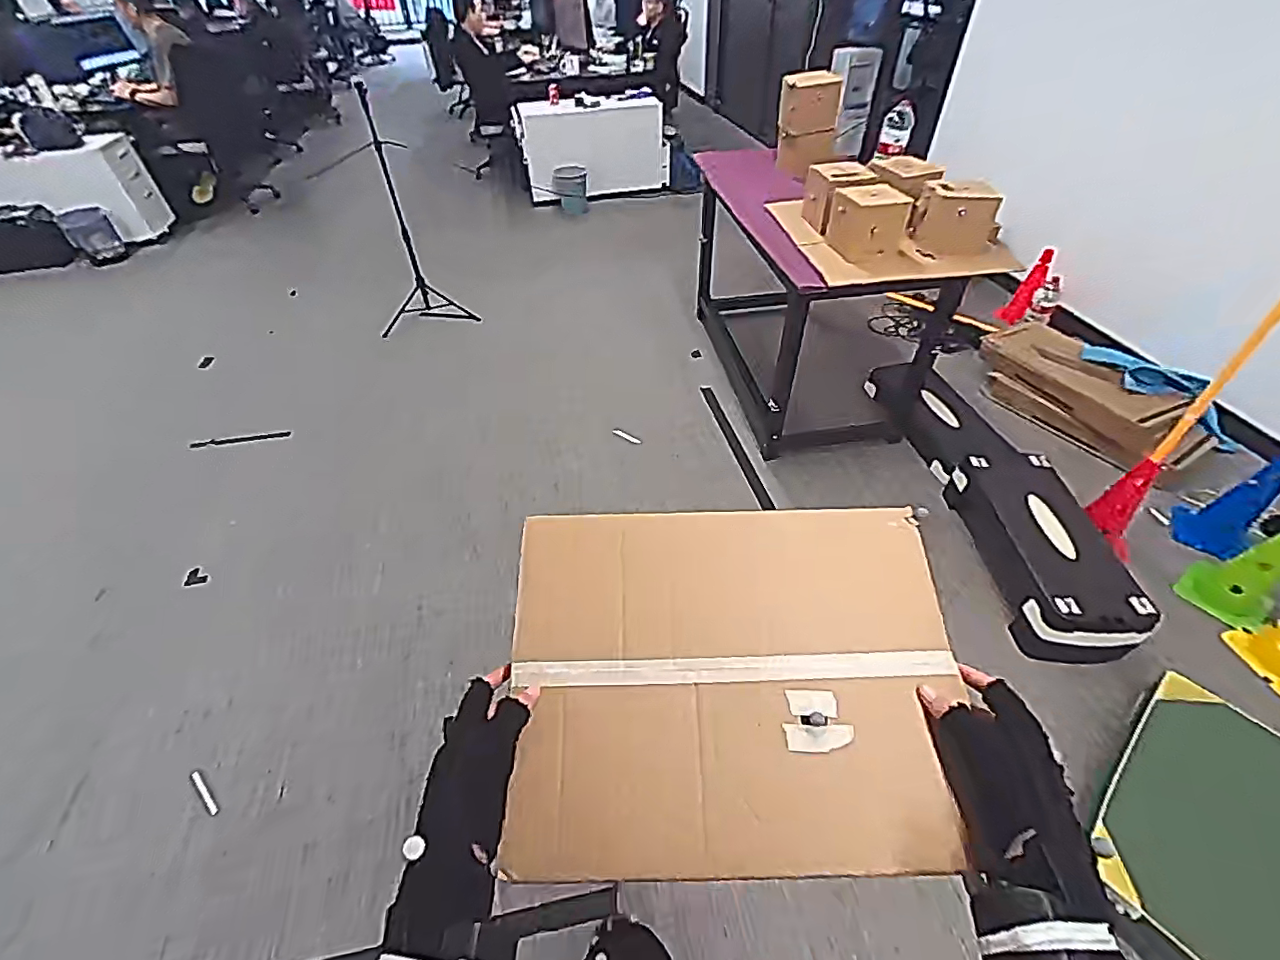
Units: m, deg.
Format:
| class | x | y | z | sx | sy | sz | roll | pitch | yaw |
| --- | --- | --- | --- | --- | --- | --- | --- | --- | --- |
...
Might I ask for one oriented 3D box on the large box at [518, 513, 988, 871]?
| class | x | y | z | sx | sy | sz | roll | pitch | yaw |
| --- | --- | --- | --- | --- | --- | --- | --- | --- | --- |
| large box | 0.090 | 0.246 | 0.647 | 0.408 | 0.320 | 0.320 | -1 | 64 | 0 |
